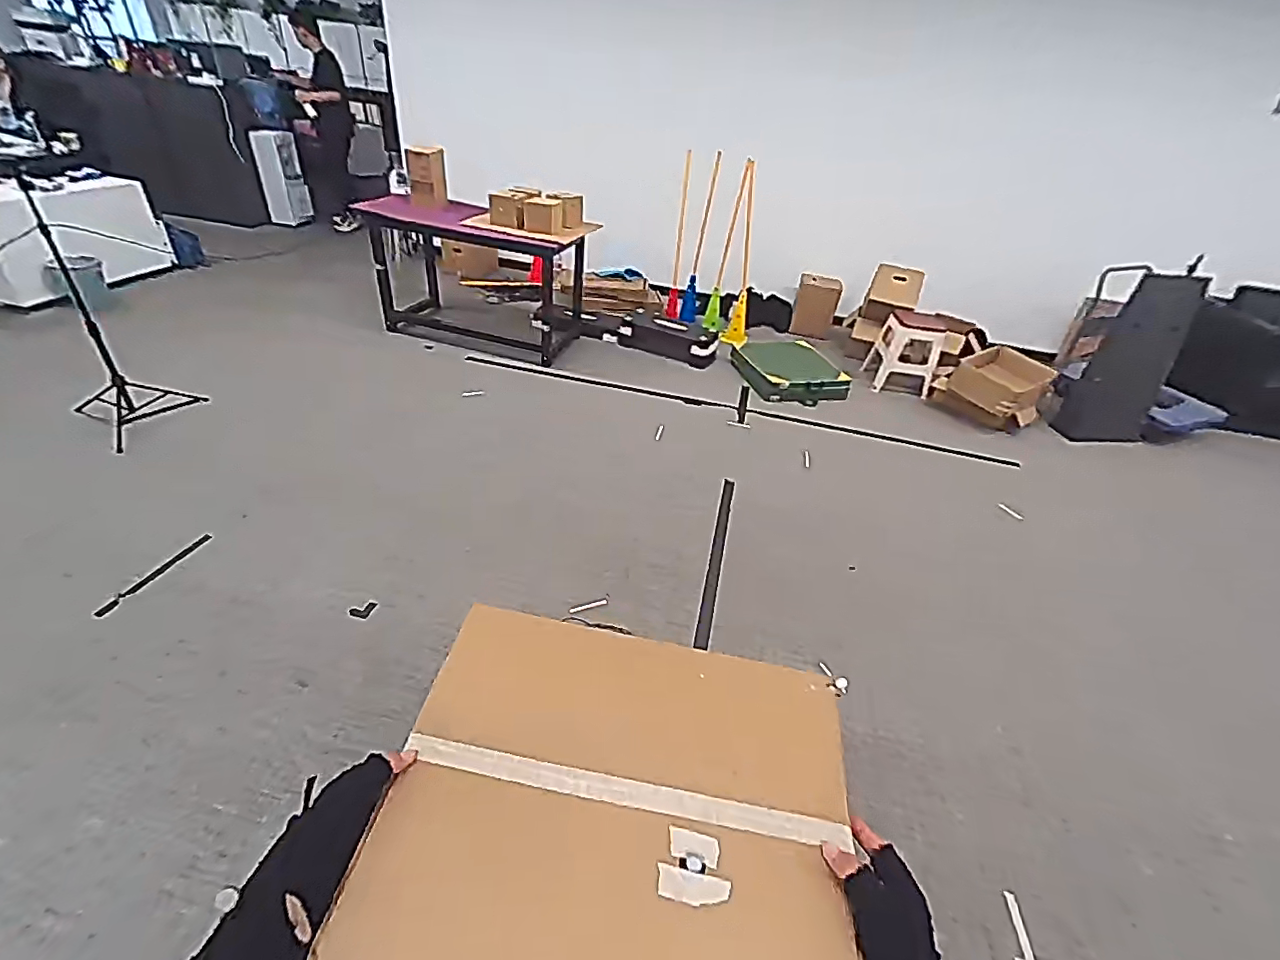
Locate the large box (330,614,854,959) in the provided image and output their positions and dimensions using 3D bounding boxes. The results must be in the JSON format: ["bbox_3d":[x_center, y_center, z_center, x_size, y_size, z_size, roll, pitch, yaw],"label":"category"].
[{"bbox_3d":[-0.029,0.394,0.595,0.408,0.320,0.320,11,43,3],"label":"large box"}]
